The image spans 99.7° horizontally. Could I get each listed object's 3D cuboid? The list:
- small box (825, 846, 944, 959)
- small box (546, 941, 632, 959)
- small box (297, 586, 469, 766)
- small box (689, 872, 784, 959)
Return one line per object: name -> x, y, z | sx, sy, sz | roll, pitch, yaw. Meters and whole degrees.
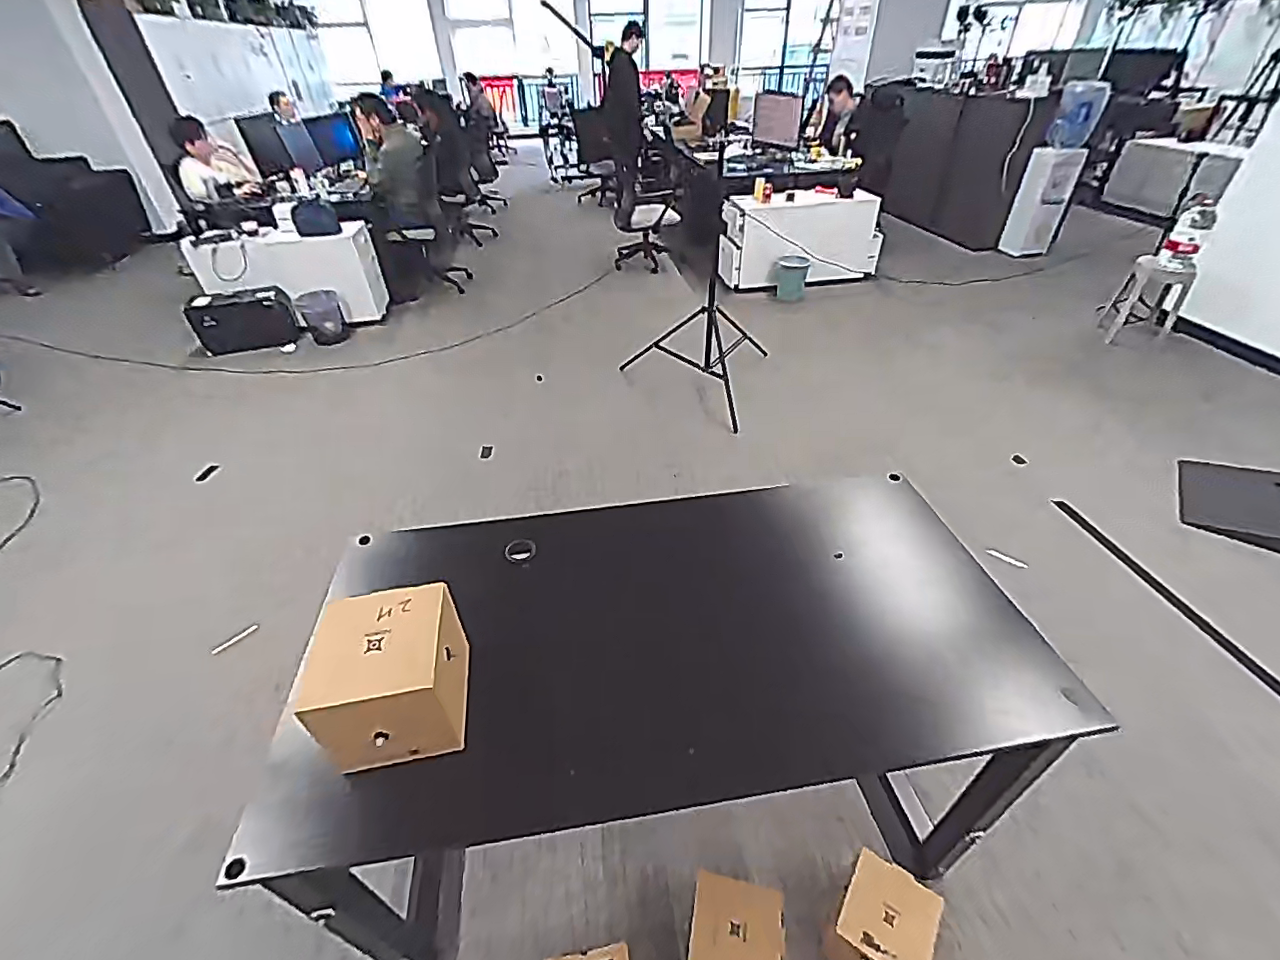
small box -> 0.495, 0.912, 1.111 | 0.168, 0.176, 0.179 | 22, 45, 27
small box -> -0.086, 1.013, 1.017 | 0.168, 0.176, 0.179 | -8, 40, -6
small box -> -0.347, 0.282, 0.772 | 0.168, 0.176, 0.179 | -8, 39, -8
small box -> 0.194, 0.938, 1.099 | 0.179, 0.176, 0.168 | 5, 39, 11
